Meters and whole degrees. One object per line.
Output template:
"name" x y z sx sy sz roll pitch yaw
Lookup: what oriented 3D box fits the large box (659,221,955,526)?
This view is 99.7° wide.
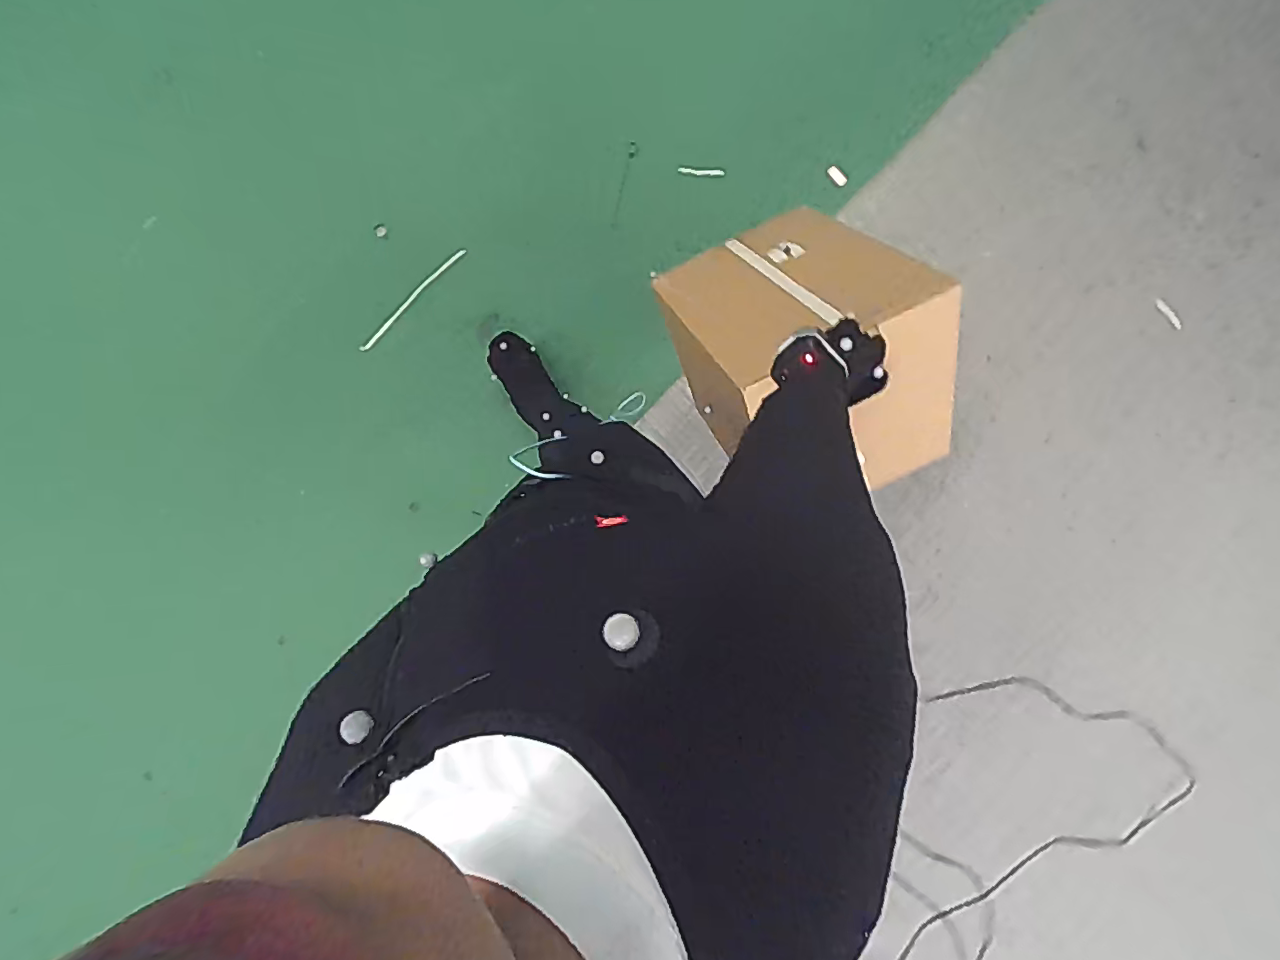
"large box" 0.275 -0.198 0.951 0.320 0.408 0.320 -24 131 1
